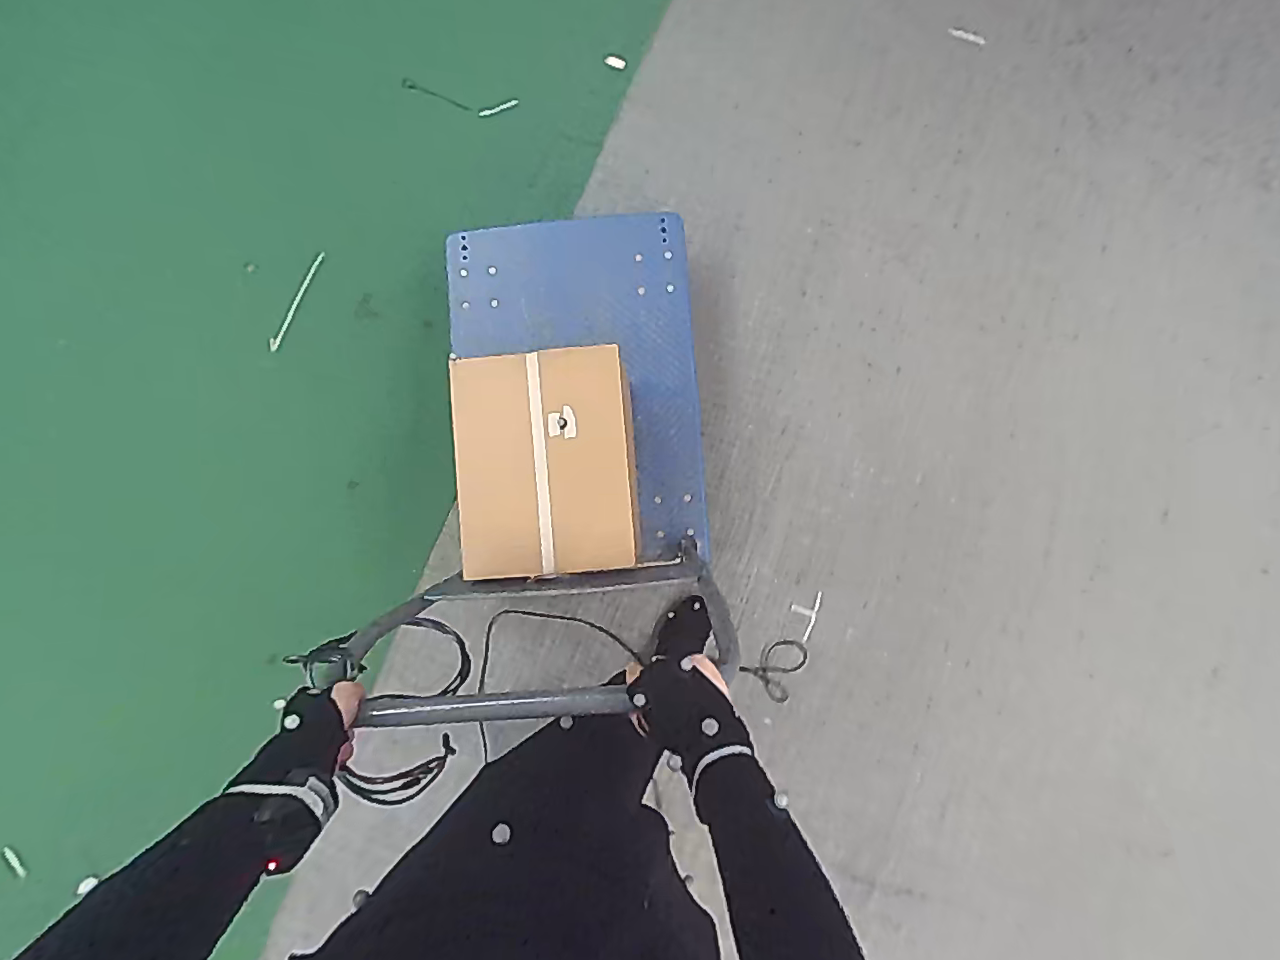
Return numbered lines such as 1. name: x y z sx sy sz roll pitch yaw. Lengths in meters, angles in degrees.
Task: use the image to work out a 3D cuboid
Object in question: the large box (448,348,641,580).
1. large box: -0.175 -0.022 1.124 0.320 0.320 0.408 -5 87 1
